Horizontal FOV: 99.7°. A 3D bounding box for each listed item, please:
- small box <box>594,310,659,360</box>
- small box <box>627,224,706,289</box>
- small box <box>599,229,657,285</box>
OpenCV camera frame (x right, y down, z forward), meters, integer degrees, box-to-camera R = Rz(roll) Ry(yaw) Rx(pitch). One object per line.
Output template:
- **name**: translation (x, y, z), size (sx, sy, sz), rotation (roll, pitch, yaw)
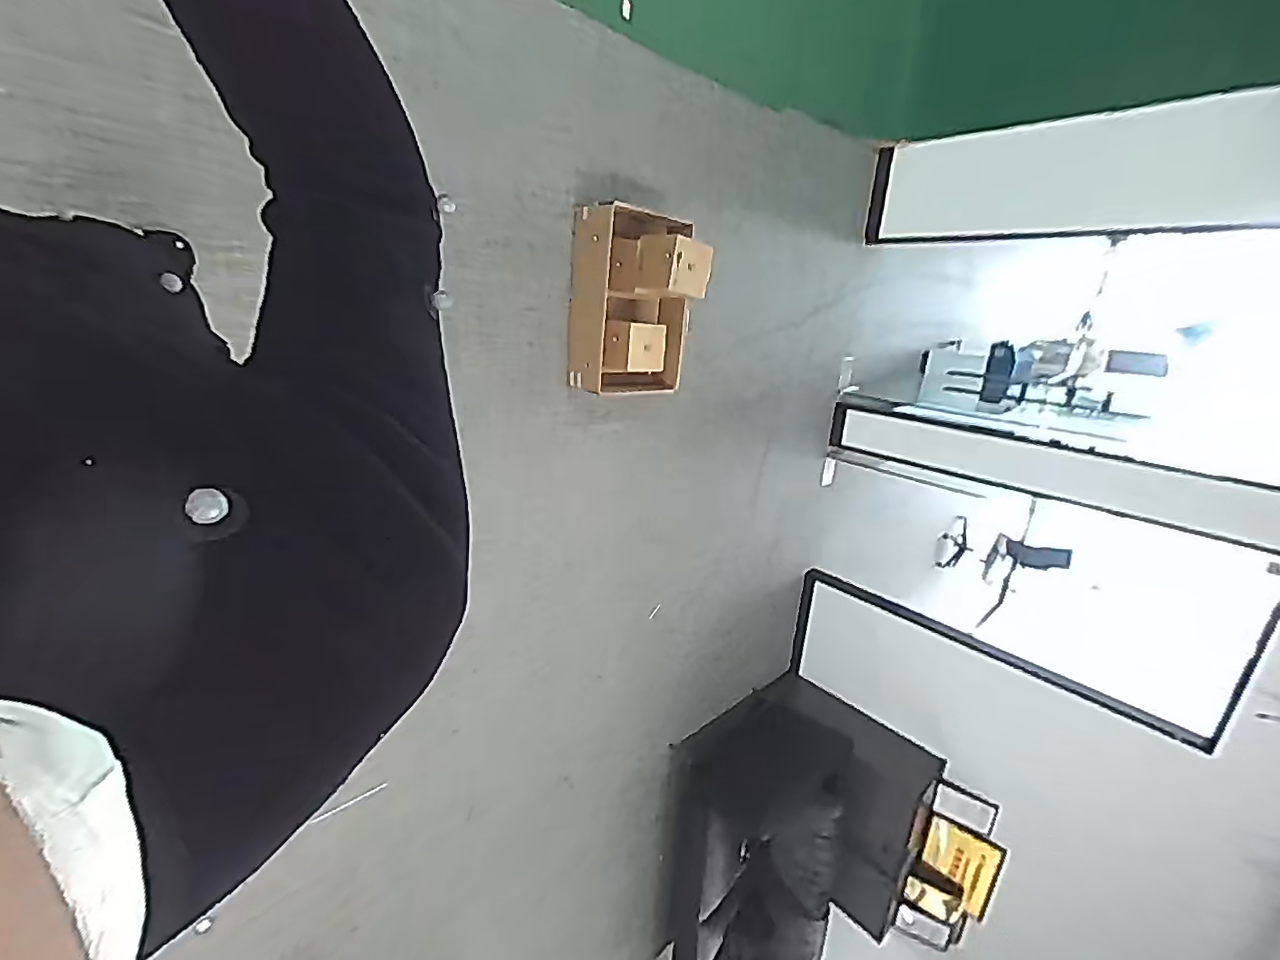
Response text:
- **small box**: translation (-0.053, -0.530, 1.975), size (0.179, 0.176, 0.168), rotation (-12, 114, -41)
- **small box**: translation (0.086, -0.736, 1.782), size (0.179, 0.176, 0.168), rotation (-5, 111, -44)
- **small box**: translation (-0.028, -0.778, 1.893), size (0.179, 0.176, 0.168), rotation (-13, 117, -41)
